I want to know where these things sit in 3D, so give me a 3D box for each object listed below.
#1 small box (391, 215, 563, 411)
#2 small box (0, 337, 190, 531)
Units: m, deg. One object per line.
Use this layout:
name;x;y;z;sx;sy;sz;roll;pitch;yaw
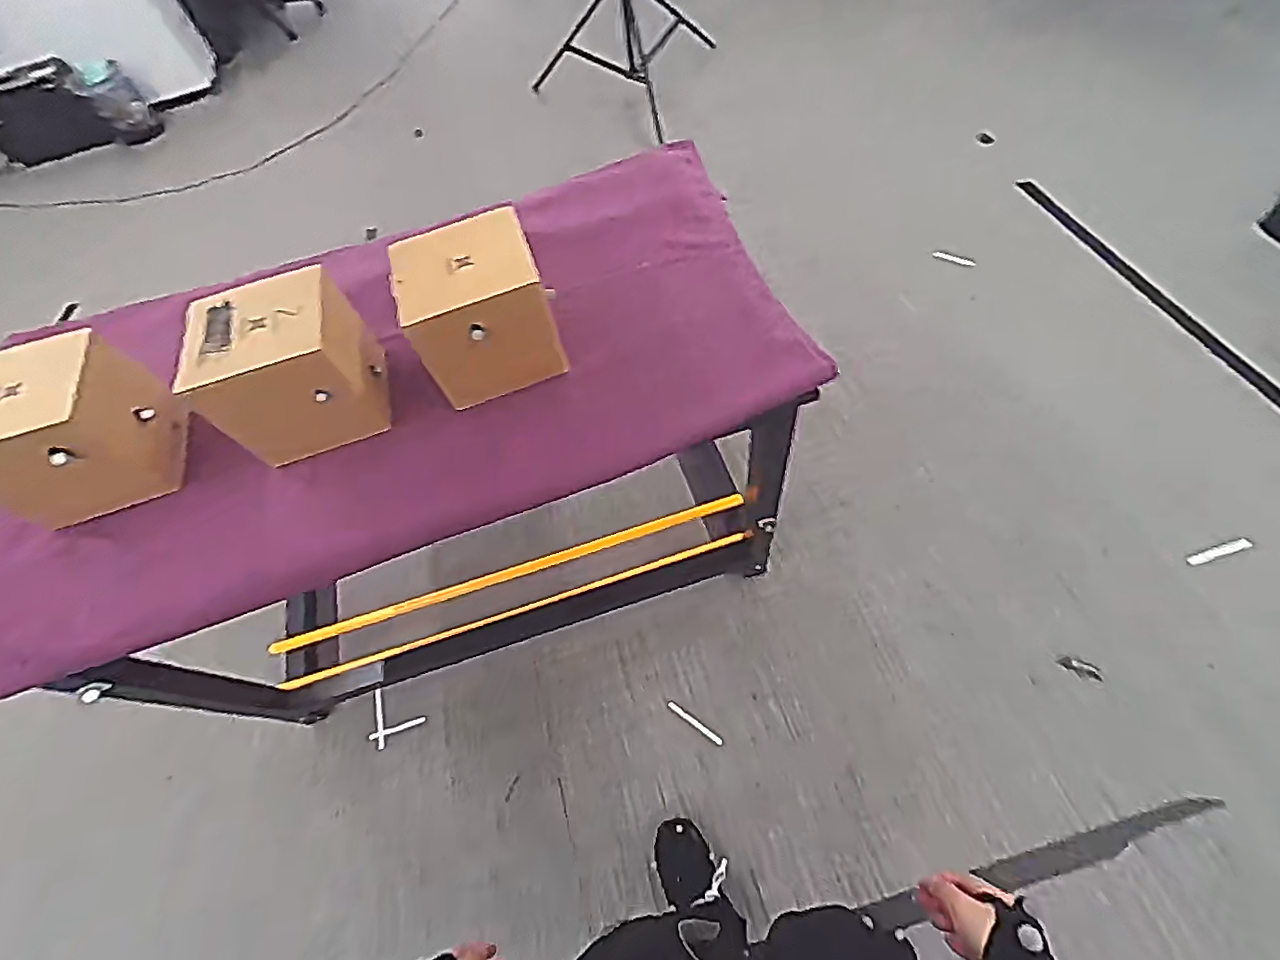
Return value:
small box;-0.218;-0.227;0.758;0.179;0.176;0.168;-21;60;-3
small box;-0.760;-0.057;0.730;0.179;0.176;0.168;-19;59;-6
